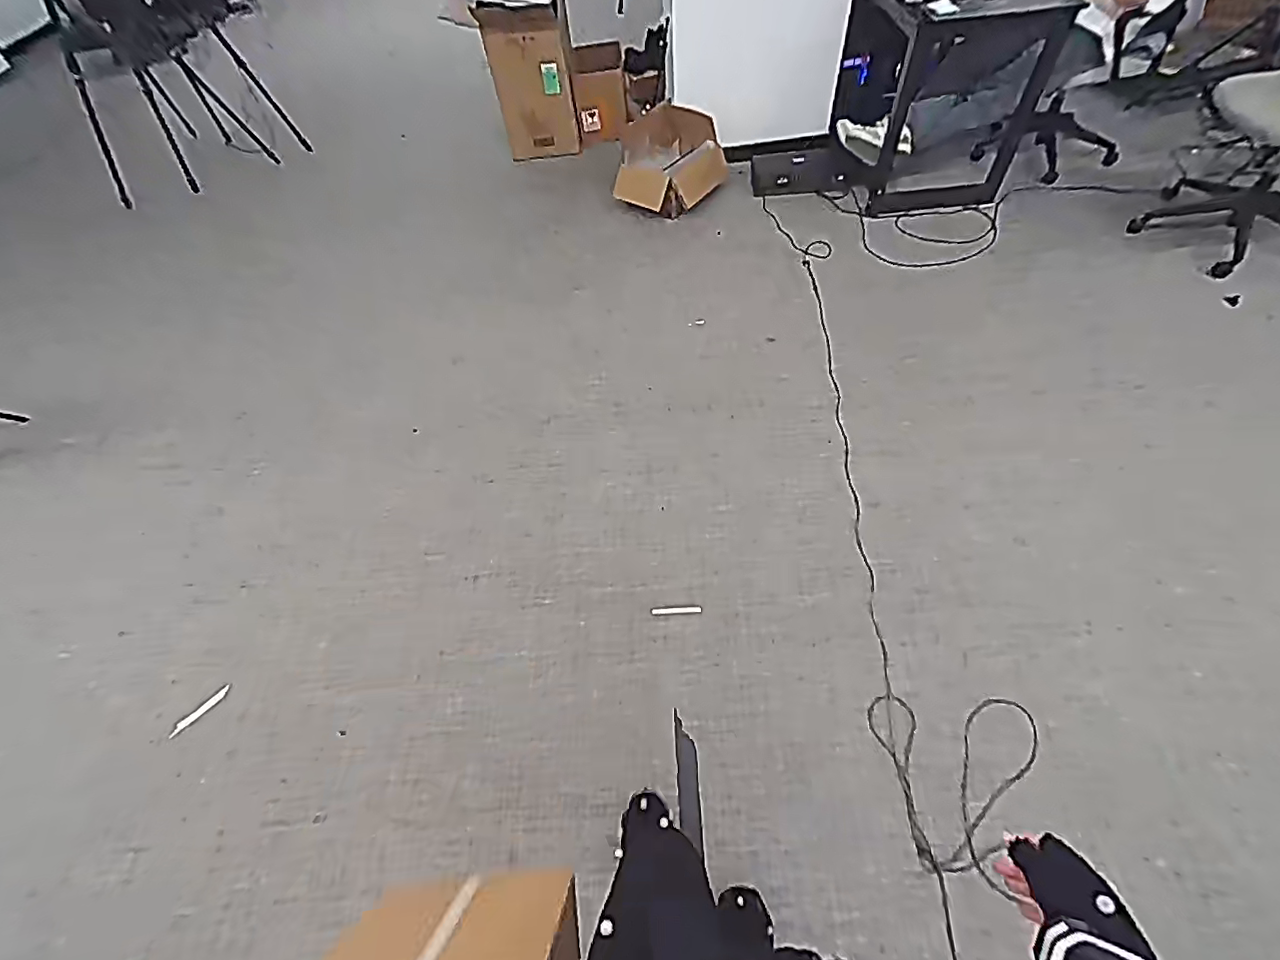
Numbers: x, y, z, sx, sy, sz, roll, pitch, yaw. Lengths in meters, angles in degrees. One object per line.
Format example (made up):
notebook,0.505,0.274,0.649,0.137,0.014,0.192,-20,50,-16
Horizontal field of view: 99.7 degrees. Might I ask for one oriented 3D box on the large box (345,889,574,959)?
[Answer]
large box,-0.251,0.790,0.657,0.320,0.408,0.320,-8,79,1
